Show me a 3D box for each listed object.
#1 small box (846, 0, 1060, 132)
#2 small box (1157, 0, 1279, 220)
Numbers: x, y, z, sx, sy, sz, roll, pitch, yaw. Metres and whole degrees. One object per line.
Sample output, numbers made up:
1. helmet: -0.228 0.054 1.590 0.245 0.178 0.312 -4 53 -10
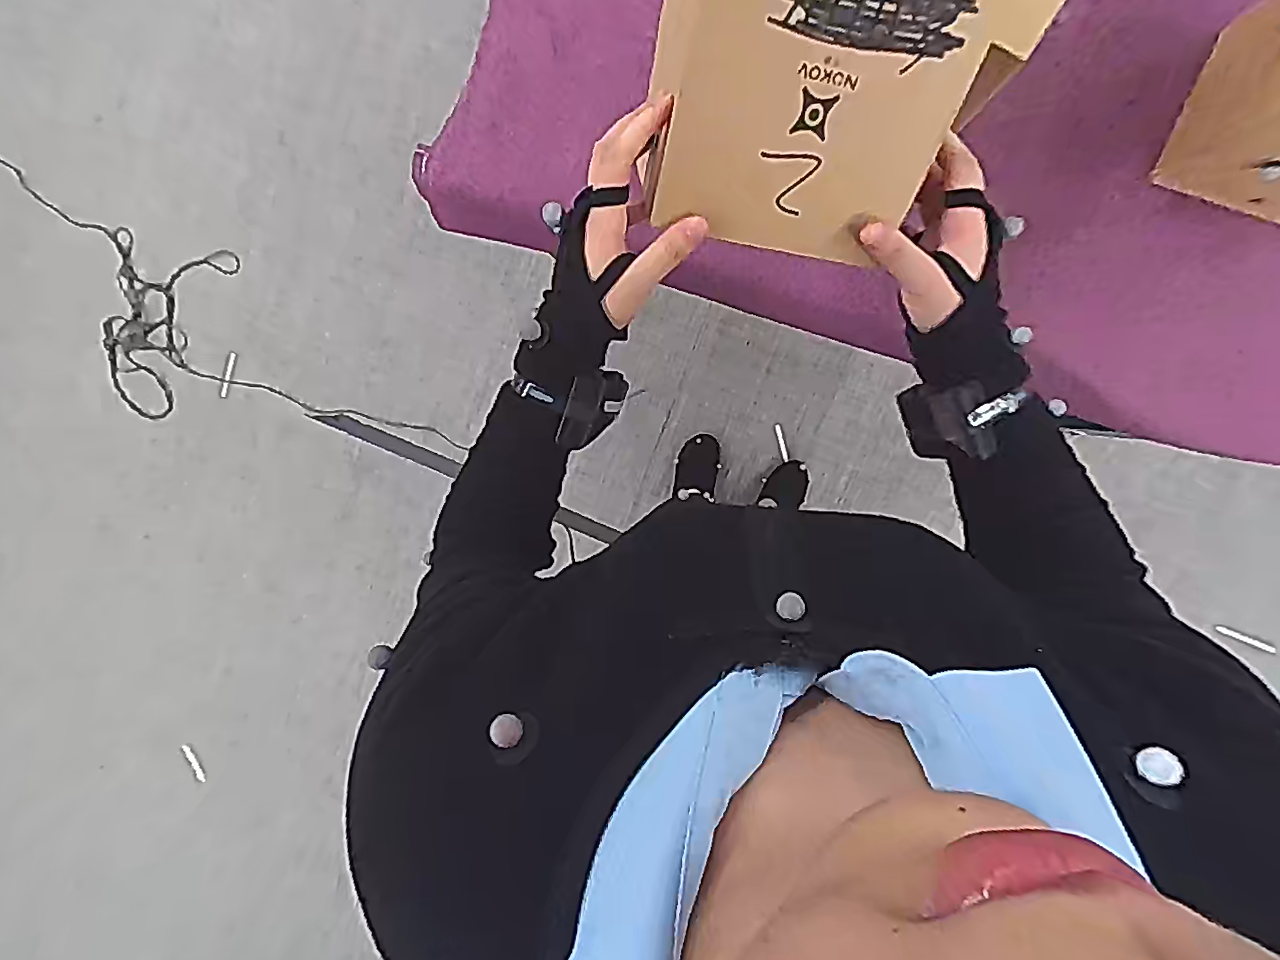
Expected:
1. small box: 0.344 -0.520 0.574 0.168 0.176 0.179 32 100 0
2. small box: 0.700 -0.397 0.552 0.168 0.176 0.179 21 99 4
